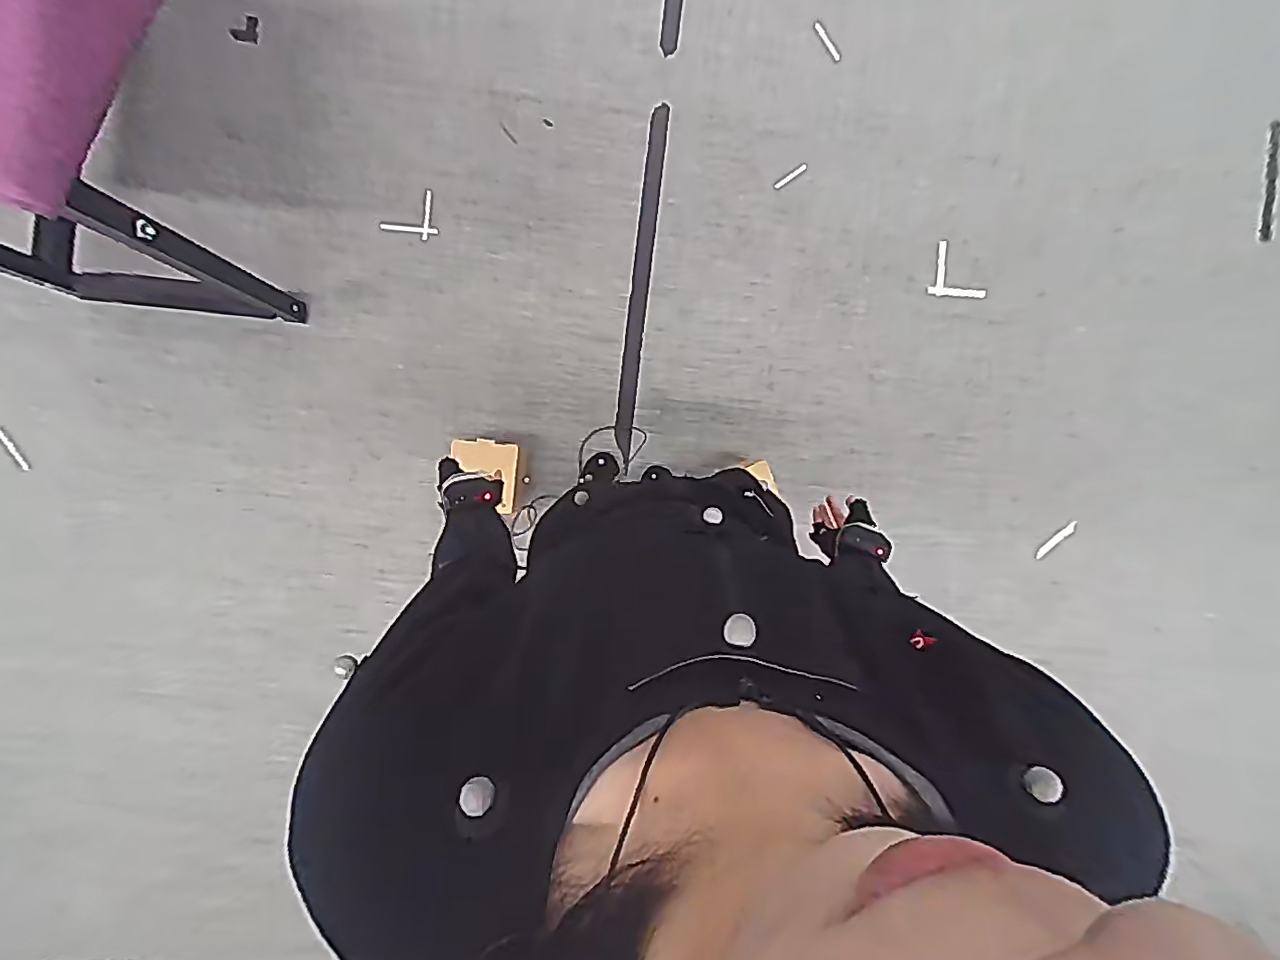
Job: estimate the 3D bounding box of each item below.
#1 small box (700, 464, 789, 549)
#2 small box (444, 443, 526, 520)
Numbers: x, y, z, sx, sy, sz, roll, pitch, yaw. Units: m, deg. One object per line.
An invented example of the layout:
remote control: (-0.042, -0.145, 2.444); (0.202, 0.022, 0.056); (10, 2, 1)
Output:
small box: (0.271, 0.066, 1.451); (0.168, 0.176, 0.179); (-22, 93, -1)
small box: (-0.395, 0.005, 1.406); (0.168, 0.176, 0.179); (6, 88, -3)
